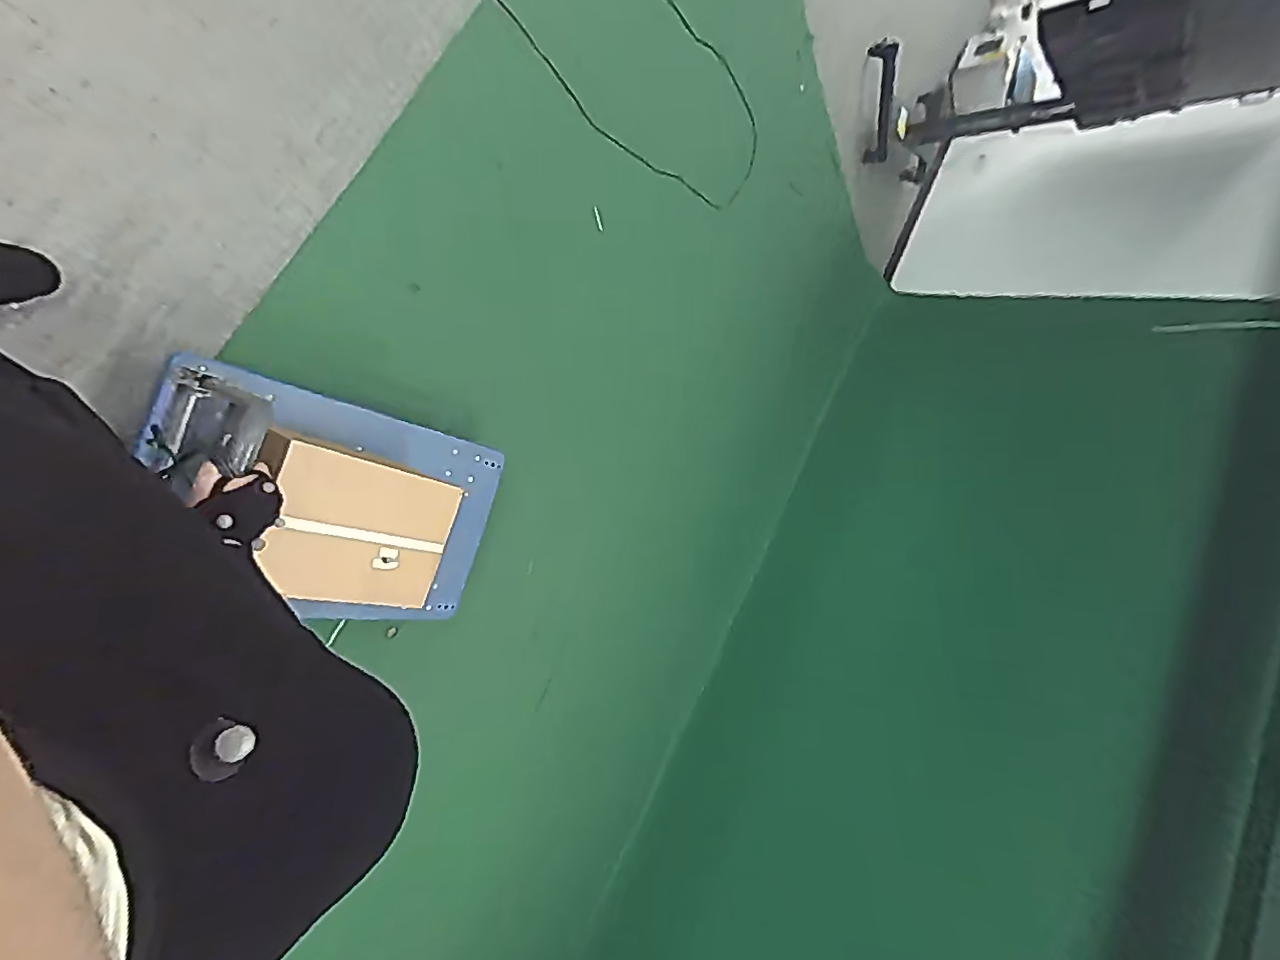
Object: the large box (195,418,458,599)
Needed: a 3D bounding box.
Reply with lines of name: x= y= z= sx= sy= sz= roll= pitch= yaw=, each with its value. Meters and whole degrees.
large box: x=-0.727 y=0.072 z=1.276 sx=0.408 sy=0.320 sz=0.320 roll=24 pitch=85 yaw=-51
